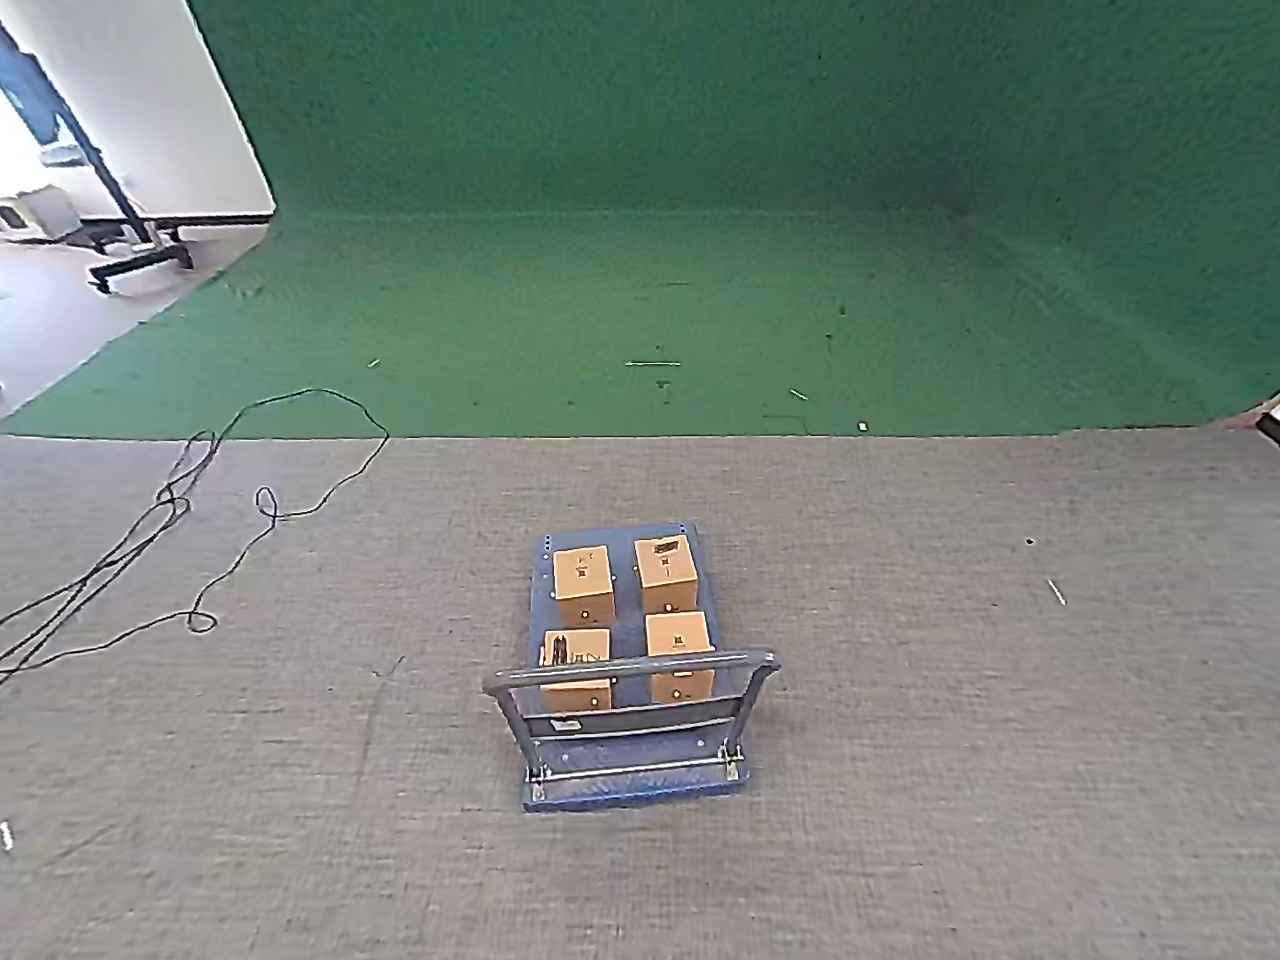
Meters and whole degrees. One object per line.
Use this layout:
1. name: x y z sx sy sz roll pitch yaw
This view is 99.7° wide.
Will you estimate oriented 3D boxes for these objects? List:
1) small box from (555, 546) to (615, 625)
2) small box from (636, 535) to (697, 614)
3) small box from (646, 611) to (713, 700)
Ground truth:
1. small box: -0.170 0.334 1.675 0.168 0.176 0.179 -6 44 -6
2. small box: 0.078 0.301 1.701 0.168 0.176 0.179 -8 46 -5
3. small box: 0.104 0.489 1.509 0.168 0.176 0.179 -4 45 -3
